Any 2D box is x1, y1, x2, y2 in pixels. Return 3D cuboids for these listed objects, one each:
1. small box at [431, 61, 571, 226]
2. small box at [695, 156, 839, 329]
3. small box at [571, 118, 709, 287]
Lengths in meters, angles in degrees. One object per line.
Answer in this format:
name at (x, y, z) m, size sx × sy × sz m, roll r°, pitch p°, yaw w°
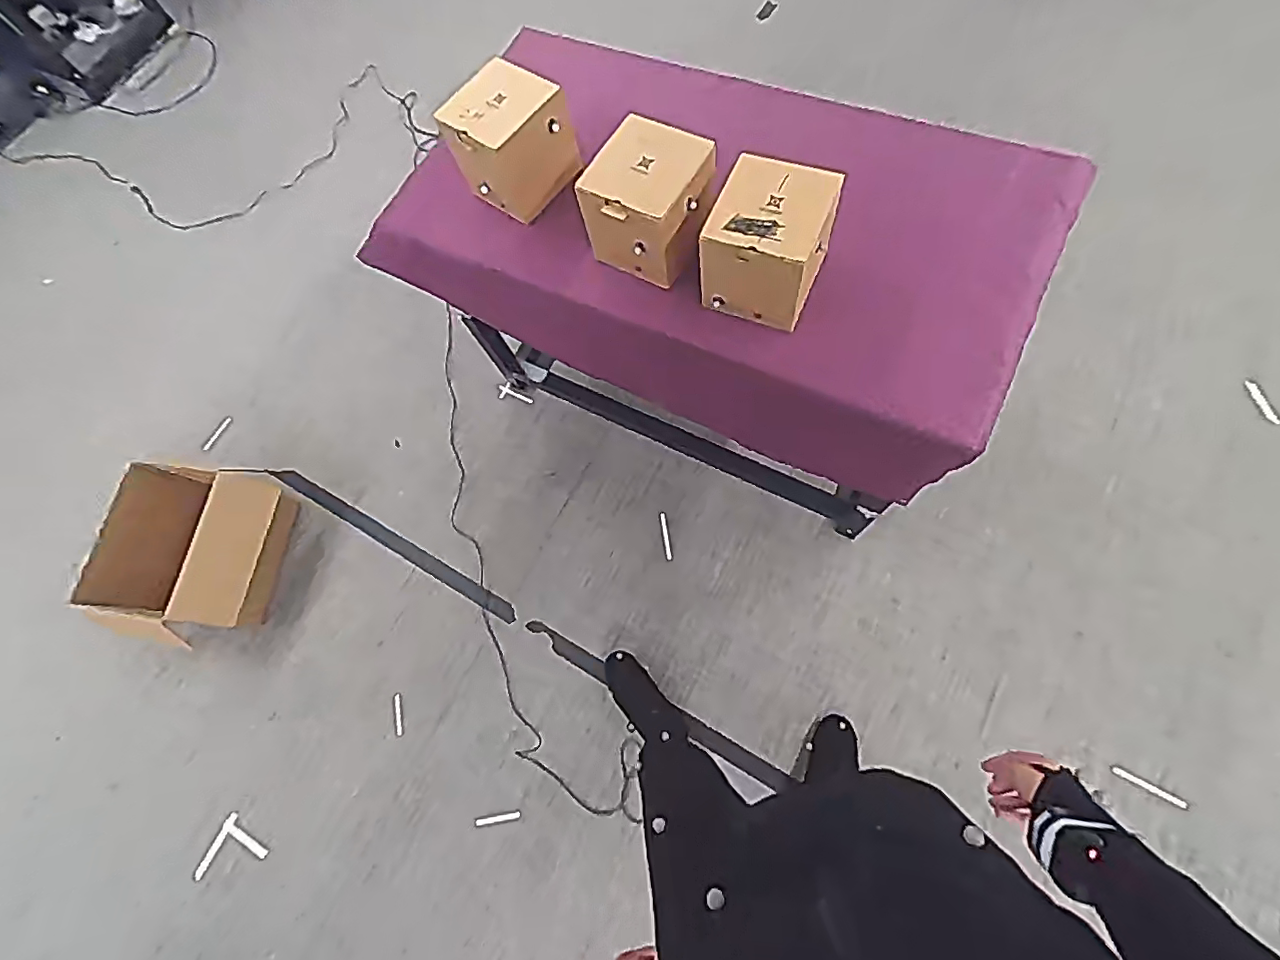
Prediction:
small box at (-0.249, -0.631, 1.026) m, size 0.168 × 0.176 × 0.179 m, roll 35°, pitch 80°, yaw 18°
small box at (0.201, -0.377, 0.877) m, size 0.168 × 0.176 × 0.179 m, roll 21°, pitch 74°, yaw 14°
small box at (0.011, -0.471, 0.938) m, size 0.168 × 0.176 × 0.179 m, roll 29°, pitch 77°, yaw 15°
